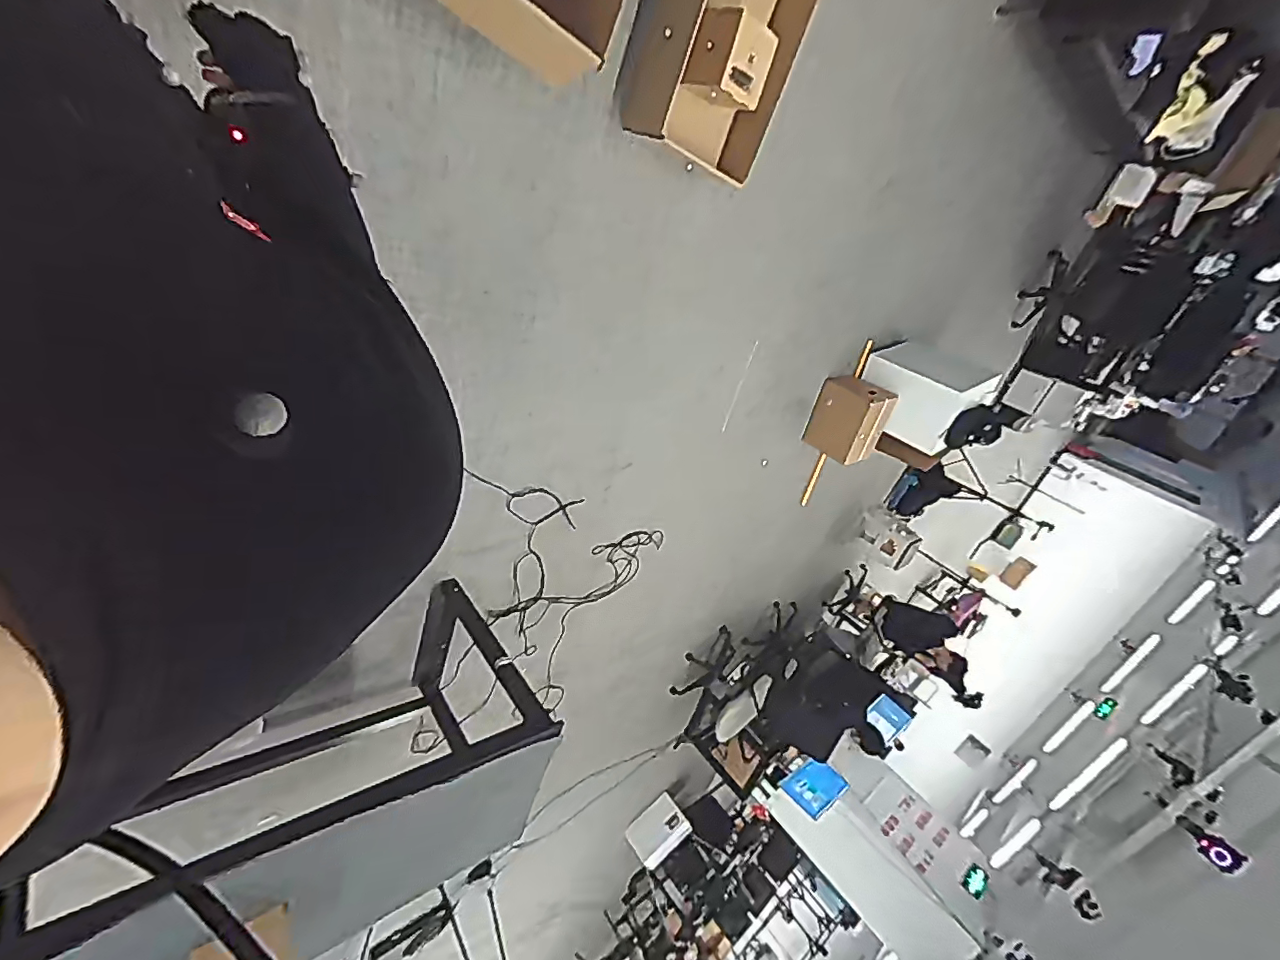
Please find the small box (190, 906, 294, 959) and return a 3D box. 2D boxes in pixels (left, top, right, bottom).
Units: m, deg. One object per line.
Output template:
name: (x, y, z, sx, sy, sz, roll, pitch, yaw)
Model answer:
small box: (-0.849, 1.075, 1.158, 0.168, 0.176, 0.179, -4, 124, -44)
